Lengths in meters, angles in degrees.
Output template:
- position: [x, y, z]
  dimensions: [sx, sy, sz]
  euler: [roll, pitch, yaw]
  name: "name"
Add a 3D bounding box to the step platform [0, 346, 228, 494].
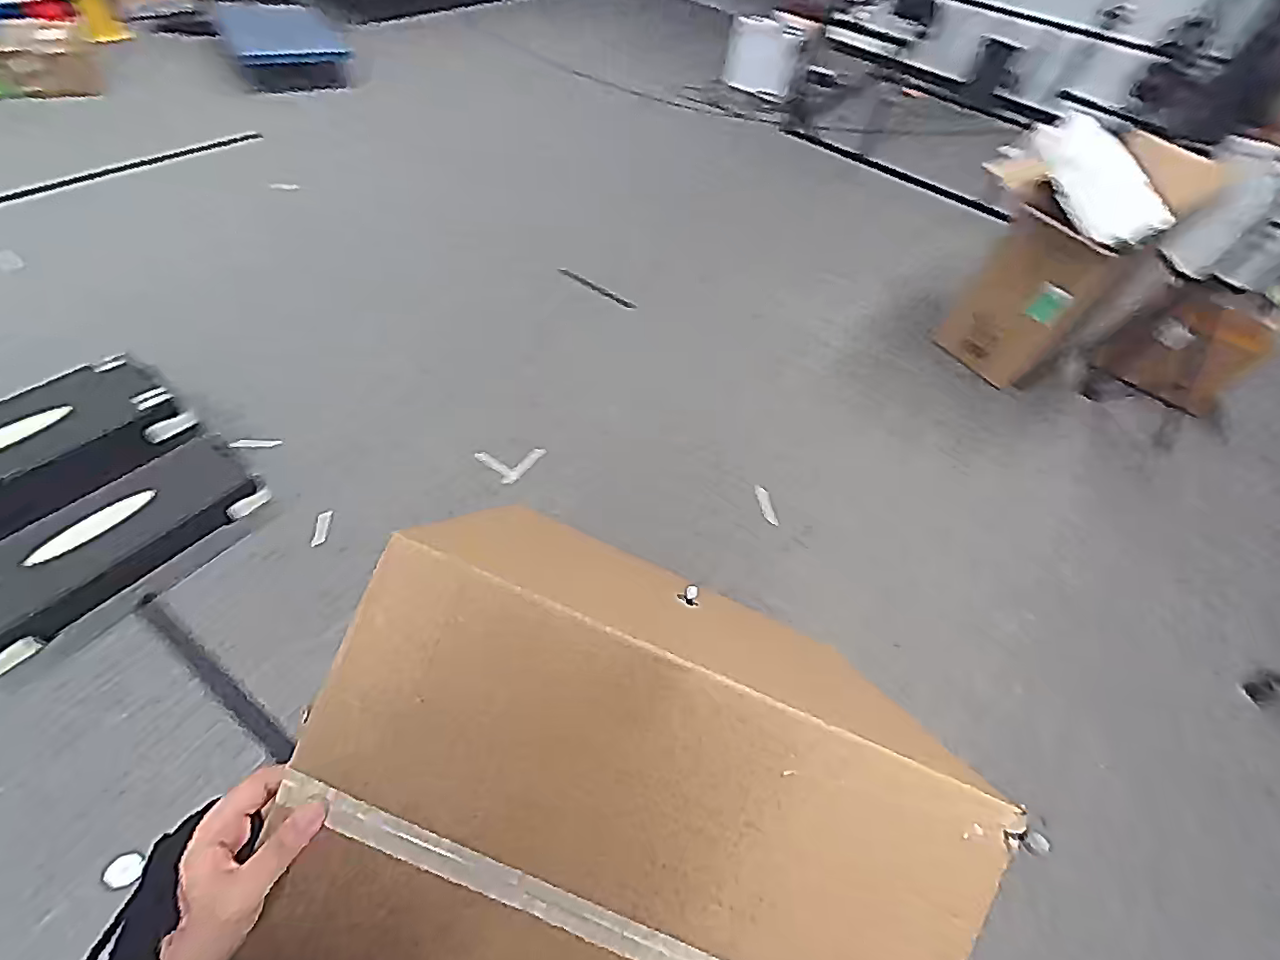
- position: [-1.519, -0.092, 1.406]
  dimensions: [0.286, 0.204, 0.684]
  euler: [39, 55, 19]
  name: "step platform"
